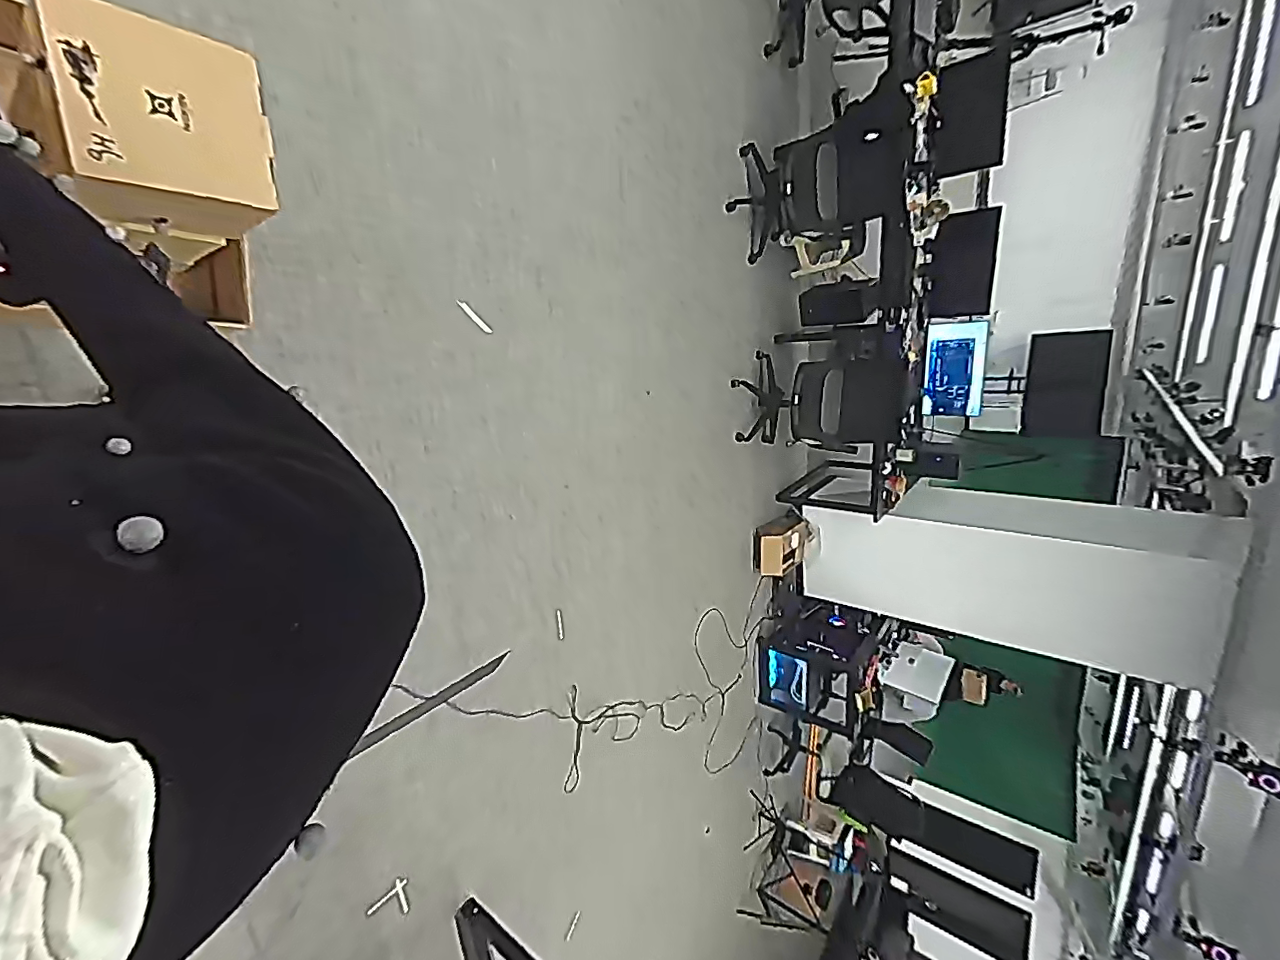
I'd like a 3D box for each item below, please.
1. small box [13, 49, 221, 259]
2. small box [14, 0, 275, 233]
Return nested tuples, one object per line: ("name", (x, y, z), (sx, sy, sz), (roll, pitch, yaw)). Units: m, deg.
("small box", (-0.684, -0.402, 0.711), (0.168, 0.176, 0.179), (-12, 104, -51))
("small box", (-0.553, -0.391, 0.612), (0.179, 0.176, 0.168), (-15, 107, -51))
